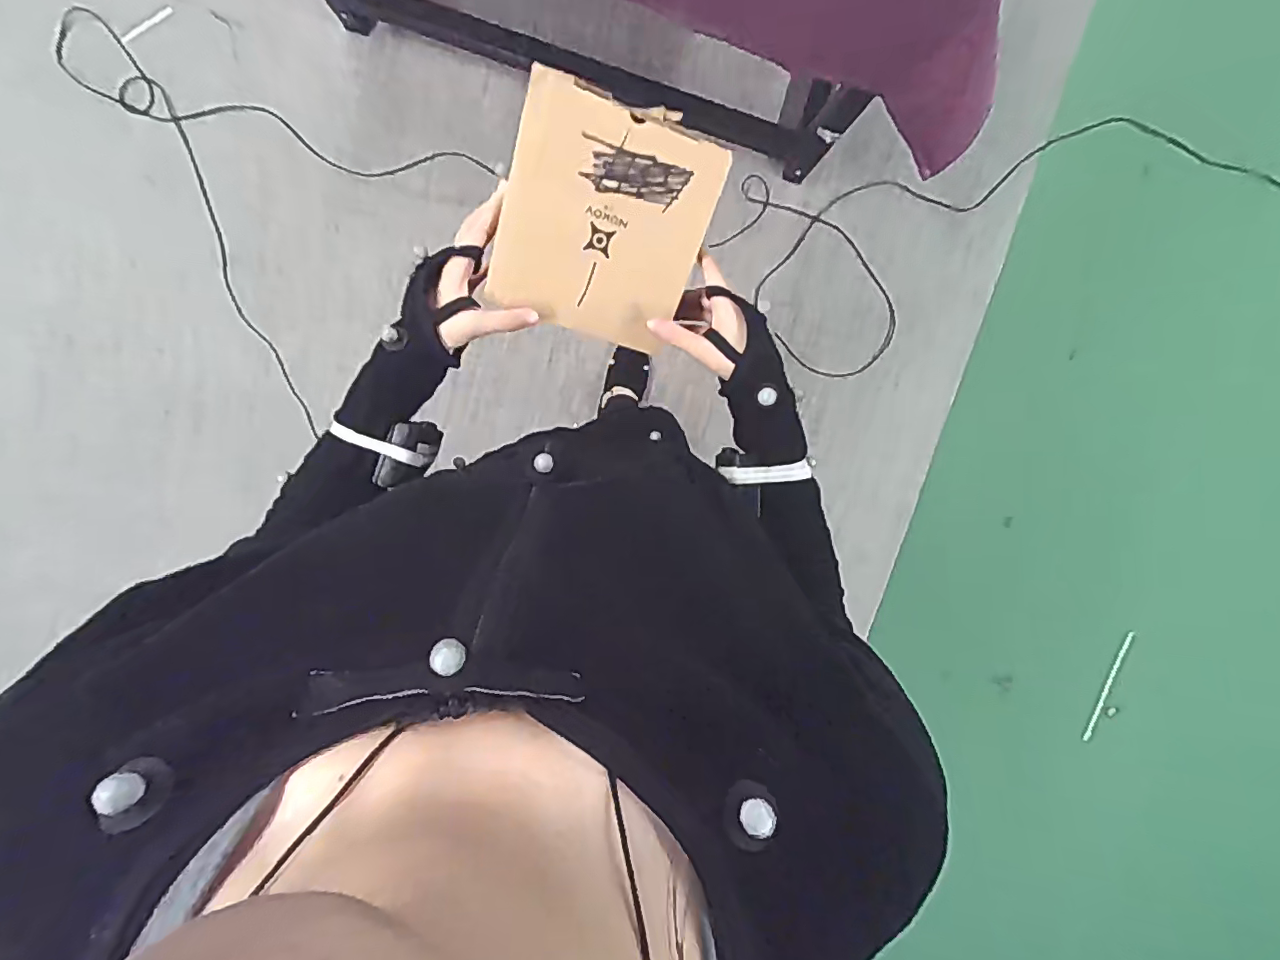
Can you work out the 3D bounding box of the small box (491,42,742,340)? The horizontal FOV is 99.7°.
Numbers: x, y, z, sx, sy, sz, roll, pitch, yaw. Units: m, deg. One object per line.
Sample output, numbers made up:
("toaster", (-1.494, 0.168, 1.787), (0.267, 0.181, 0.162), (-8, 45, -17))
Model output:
("small box", (-0.034, -0.260, 0.508), (0.168, 0.176, 0.179), (14, 118, -17))
